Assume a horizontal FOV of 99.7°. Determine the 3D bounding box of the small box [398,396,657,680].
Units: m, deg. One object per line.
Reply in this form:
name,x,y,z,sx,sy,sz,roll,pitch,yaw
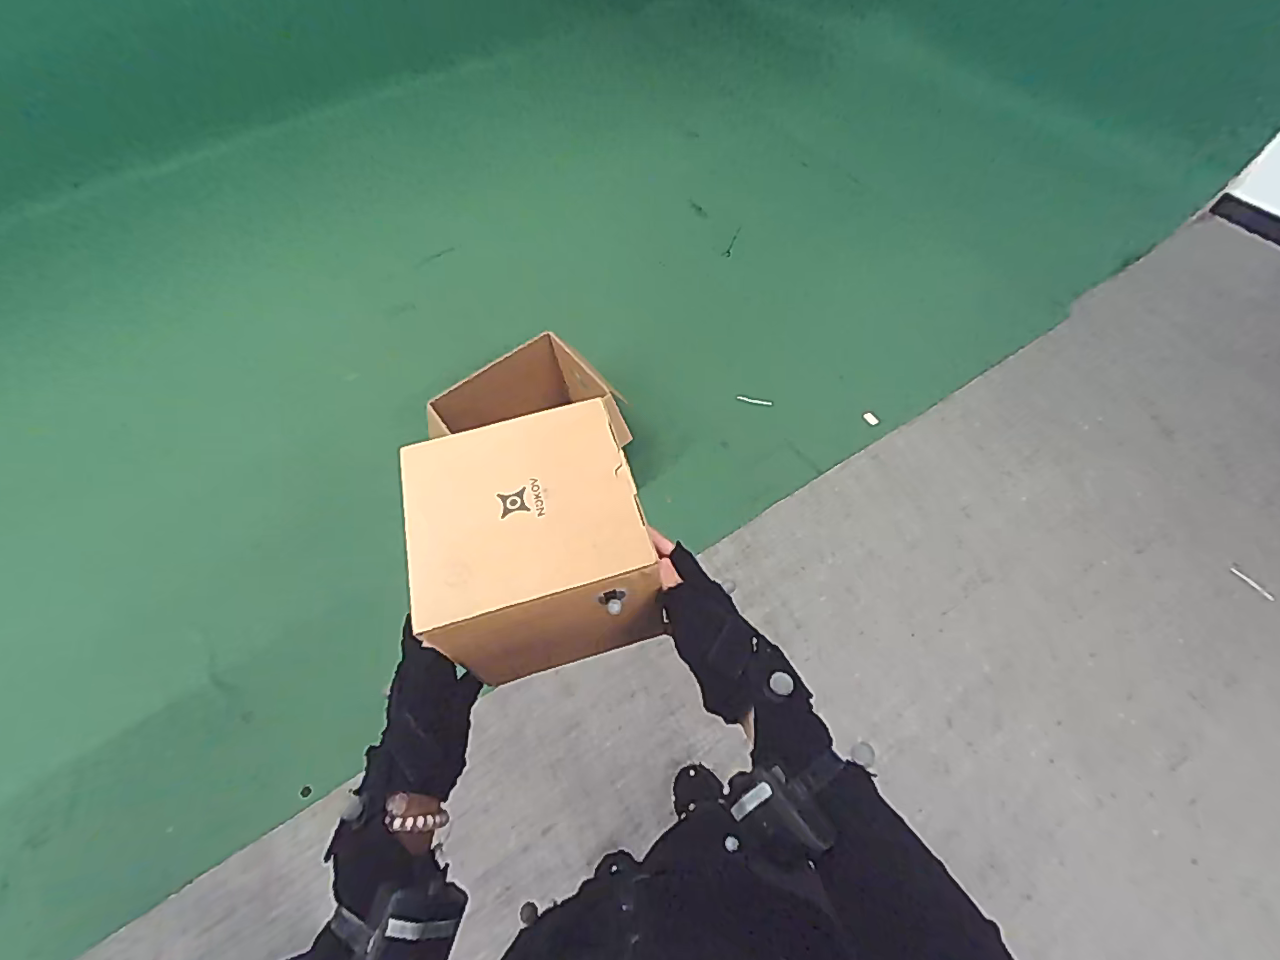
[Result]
small box,-0.091,0.059,0.480,0.179,0.176,0.168,-16,57,-7
